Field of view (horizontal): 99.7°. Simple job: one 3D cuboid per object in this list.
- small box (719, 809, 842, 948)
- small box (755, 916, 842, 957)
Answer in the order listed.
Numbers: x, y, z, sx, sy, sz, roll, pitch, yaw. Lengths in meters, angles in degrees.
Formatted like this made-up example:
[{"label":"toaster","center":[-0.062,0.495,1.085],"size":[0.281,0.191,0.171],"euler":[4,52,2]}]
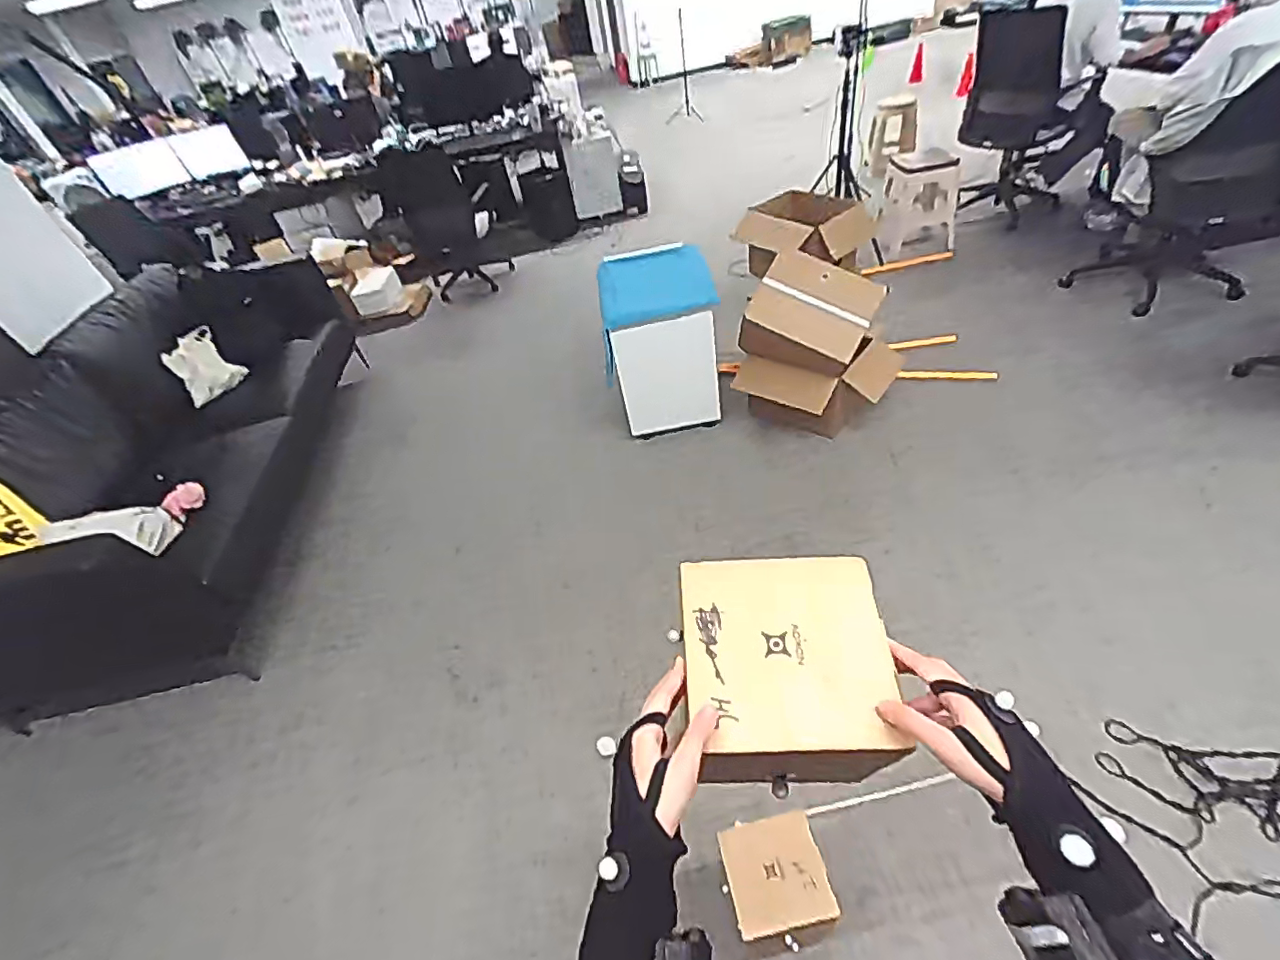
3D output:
[{"label":"small box","center":[0.262,0.754,1.021],"size":[0.179,0.176,0.168],"euler":[-14,44,0]},{"label":"small box","center":[0.302,0.869,1.132],"size":[0.179,0.176,0.168],"euler":[-14,43,-1]}]
